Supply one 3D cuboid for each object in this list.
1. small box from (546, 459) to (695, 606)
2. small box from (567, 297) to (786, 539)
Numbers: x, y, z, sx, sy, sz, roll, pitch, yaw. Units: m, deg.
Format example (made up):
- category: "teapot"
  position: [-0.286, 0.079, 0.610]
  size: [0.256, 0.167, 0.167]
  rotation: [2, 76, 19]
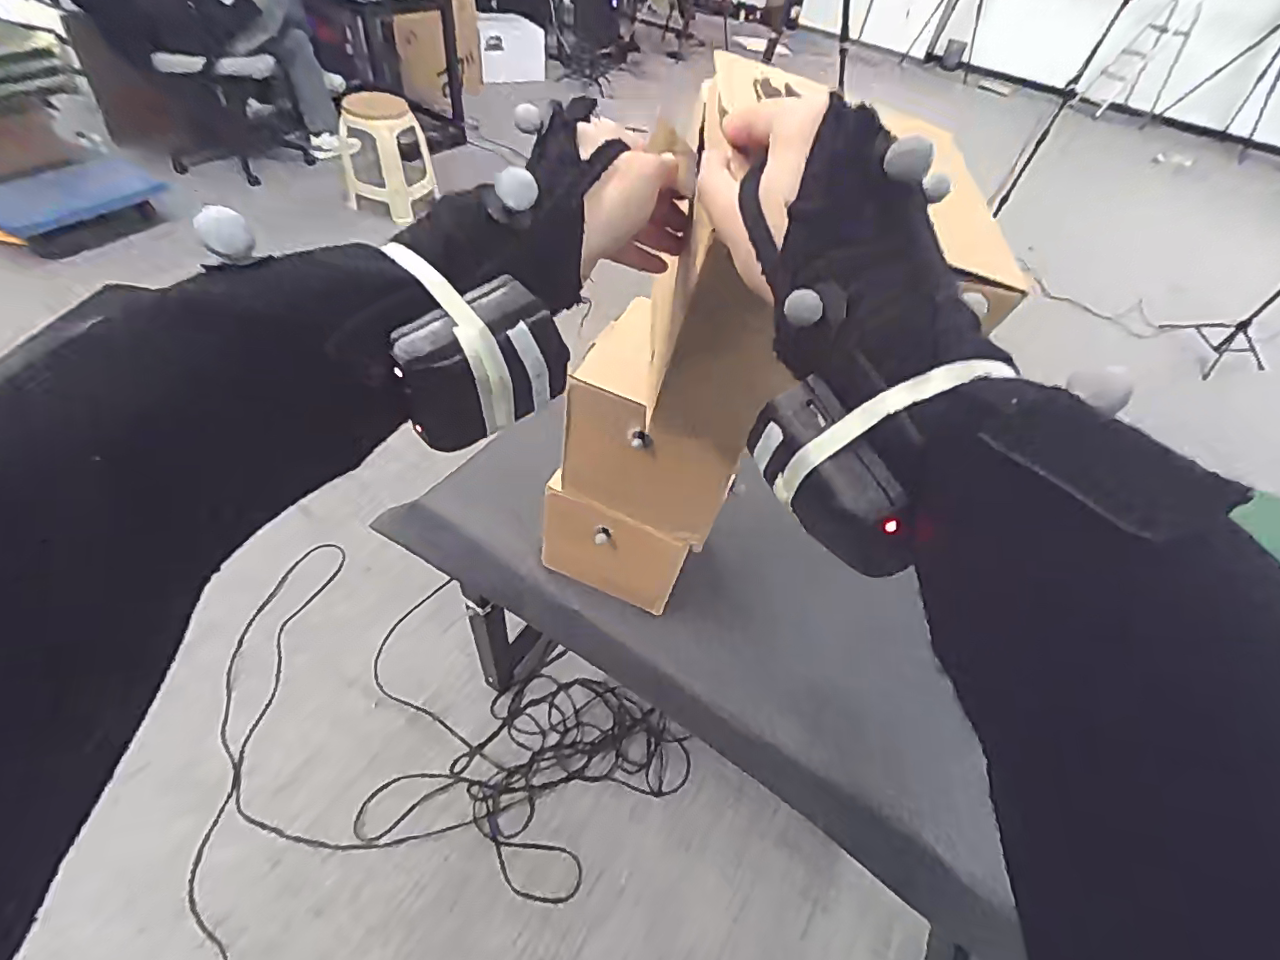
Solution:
- category: "small box"
  position: [-0.008, 0.040, 0.706]
  size: [0.179, 0.176, 0.168]
  rotation: [22, 49, 9]
- category: "small box"
  position: [0.031, -0.063, 0.585]
  size: [0.179, 0.176, 0.168]
  rotation: [23, 50, 9]
